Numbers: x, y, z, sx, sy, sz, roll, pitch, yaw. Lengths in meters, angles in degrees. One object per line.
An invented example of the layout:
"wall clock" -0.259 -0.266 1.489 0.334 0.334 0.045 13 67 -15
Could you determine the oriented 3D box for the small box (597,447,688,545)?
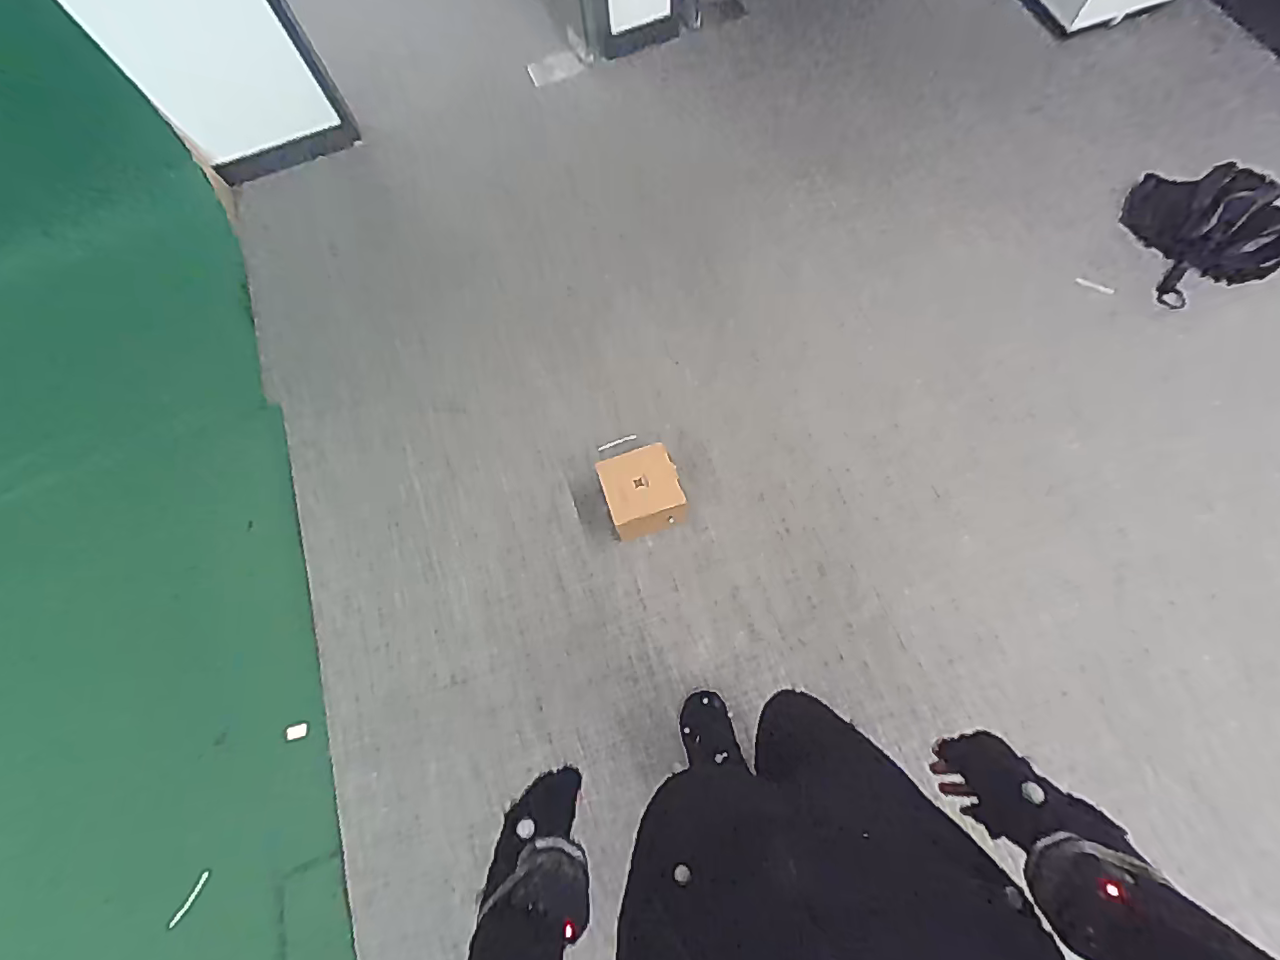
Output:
"small box" 0.010 0.045 1.339 0.179 0.176 0.168 -20 70 -1
